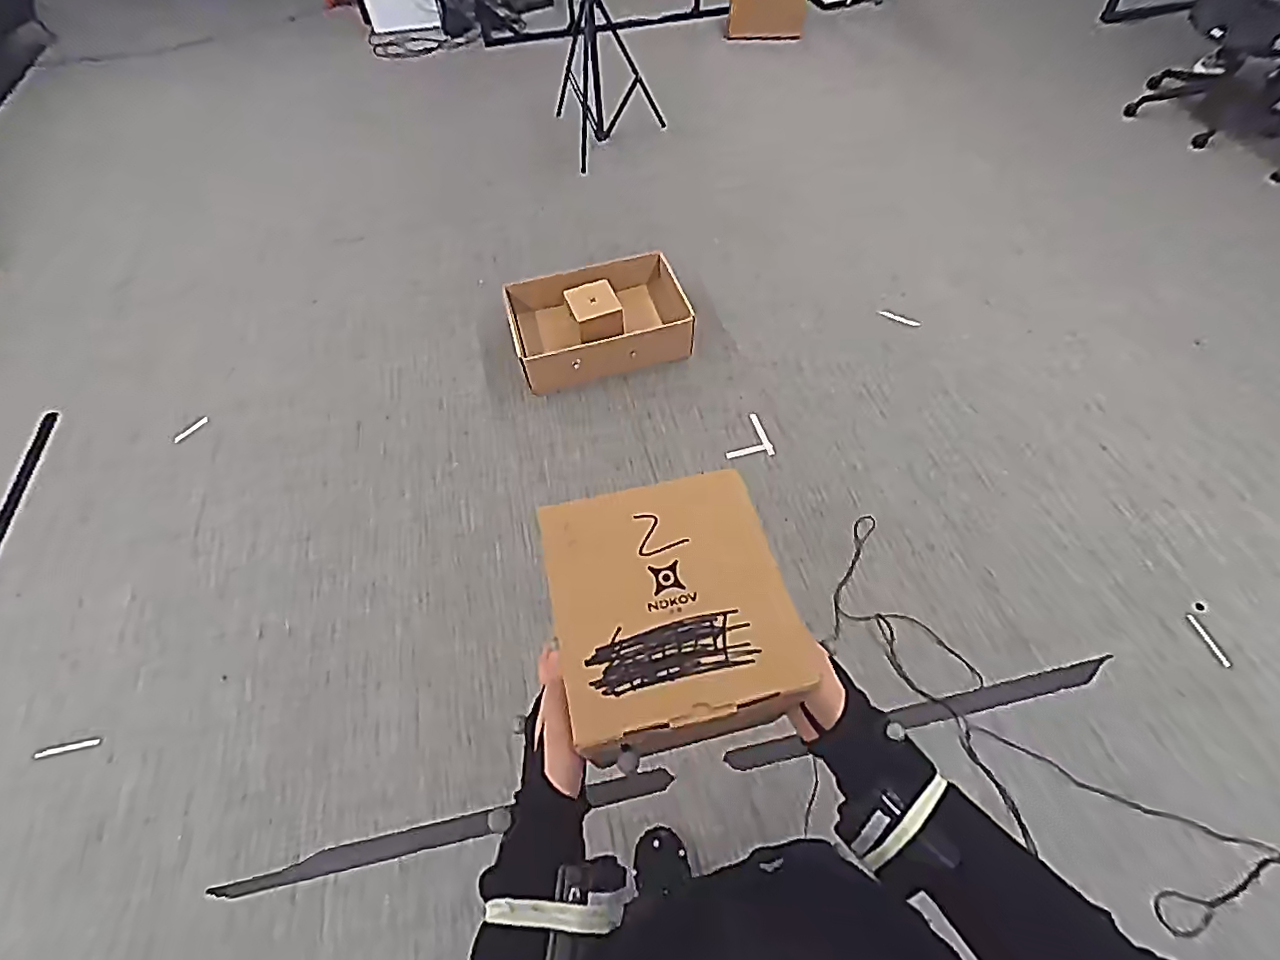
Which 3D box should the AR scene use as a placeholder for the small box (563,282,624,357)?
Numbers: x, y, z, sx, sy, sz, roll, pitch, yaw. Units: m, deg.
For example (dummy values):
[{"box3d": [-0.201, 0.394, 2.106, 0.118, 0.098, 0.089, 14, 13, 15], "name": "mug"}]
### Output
[{"box3d": [-0.165, -0.575, 1.949, 0.168, 0.176, 0.179, -20, 60, -9], "name": "small box"}]
